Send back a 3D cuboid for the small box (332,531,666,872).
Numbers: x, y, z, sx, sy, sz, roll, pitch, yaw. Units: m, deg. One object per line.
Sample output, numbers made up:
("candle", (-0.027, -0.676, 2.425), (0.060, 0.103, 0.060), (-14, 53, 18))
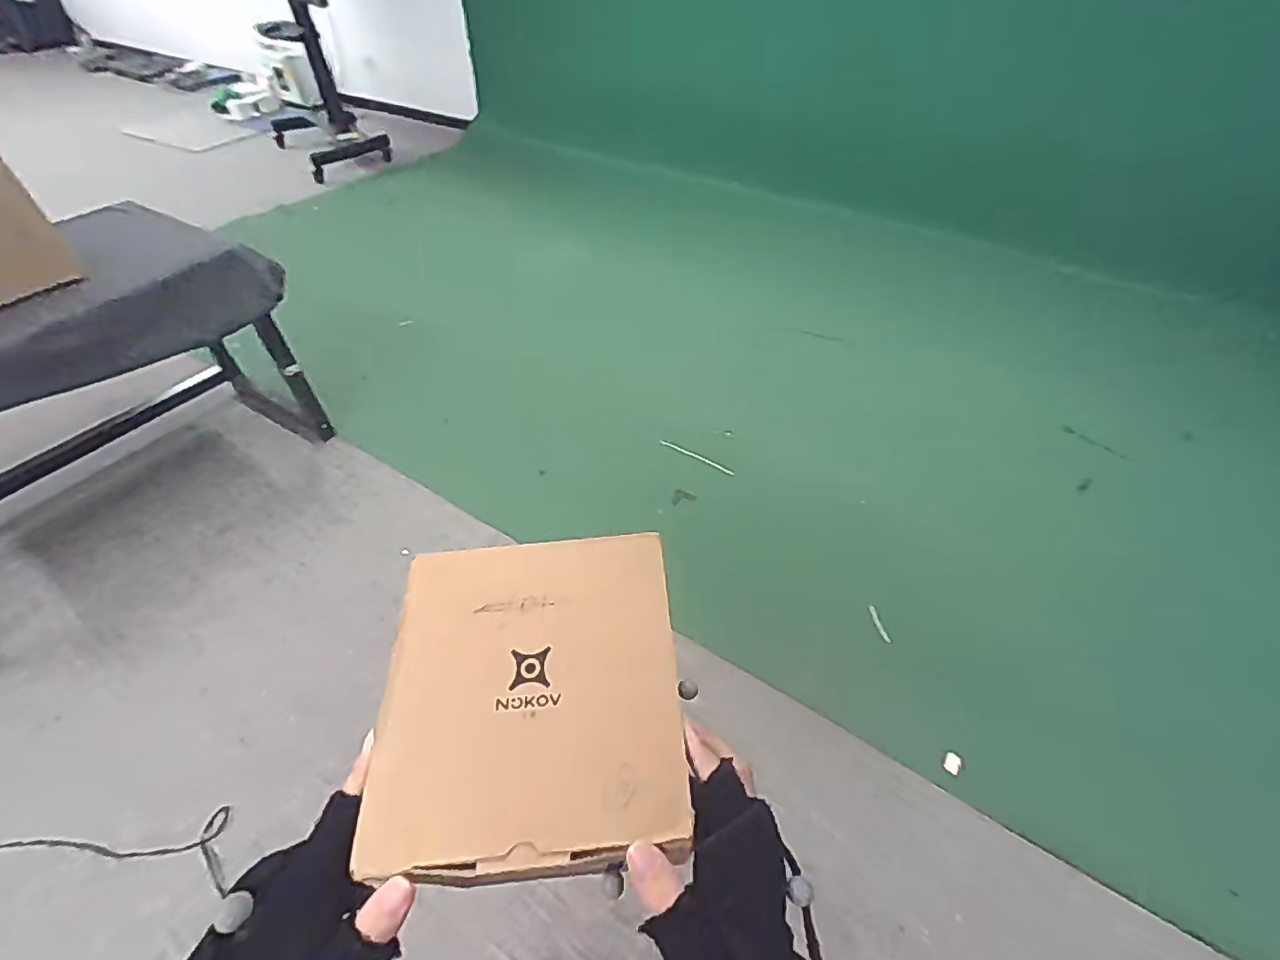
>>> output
("small box", (-0.071, 0.158, 0.374), (0.168, 0.176, 0.179), (-5, 51, -1))
